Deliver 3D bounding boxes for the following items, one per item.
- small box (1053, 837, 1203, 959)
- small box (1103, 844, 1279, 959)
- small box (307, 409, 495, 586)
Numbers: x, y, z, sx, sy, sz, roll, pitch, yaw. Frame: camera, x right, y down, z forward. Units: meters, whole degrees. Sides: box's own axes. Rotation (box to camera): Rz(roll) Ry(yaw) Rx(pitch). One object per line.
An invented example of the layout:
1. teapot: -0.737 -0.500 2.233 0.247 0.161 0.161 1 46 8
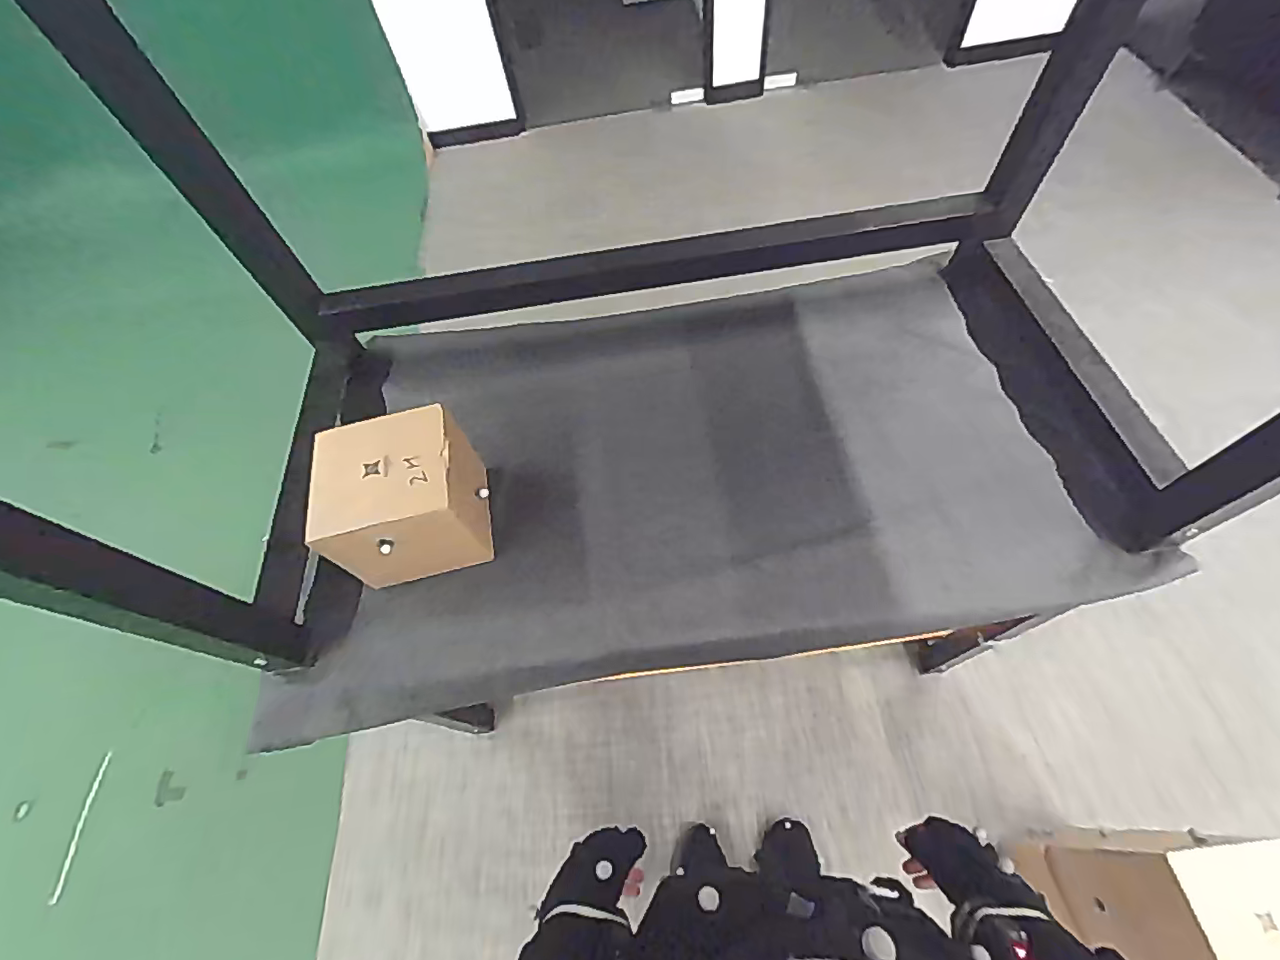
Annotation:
1. small box: 0.834 0.700 0.879 0.168 0.176 0.179 -10 58 1
2. small box: 0.803 0.614 0.743 0.168 0.176 0.179 -8 59 2
3. small box: -0.316 0.032 0.746 0.179 0.176 0.168 -13 60 -2
